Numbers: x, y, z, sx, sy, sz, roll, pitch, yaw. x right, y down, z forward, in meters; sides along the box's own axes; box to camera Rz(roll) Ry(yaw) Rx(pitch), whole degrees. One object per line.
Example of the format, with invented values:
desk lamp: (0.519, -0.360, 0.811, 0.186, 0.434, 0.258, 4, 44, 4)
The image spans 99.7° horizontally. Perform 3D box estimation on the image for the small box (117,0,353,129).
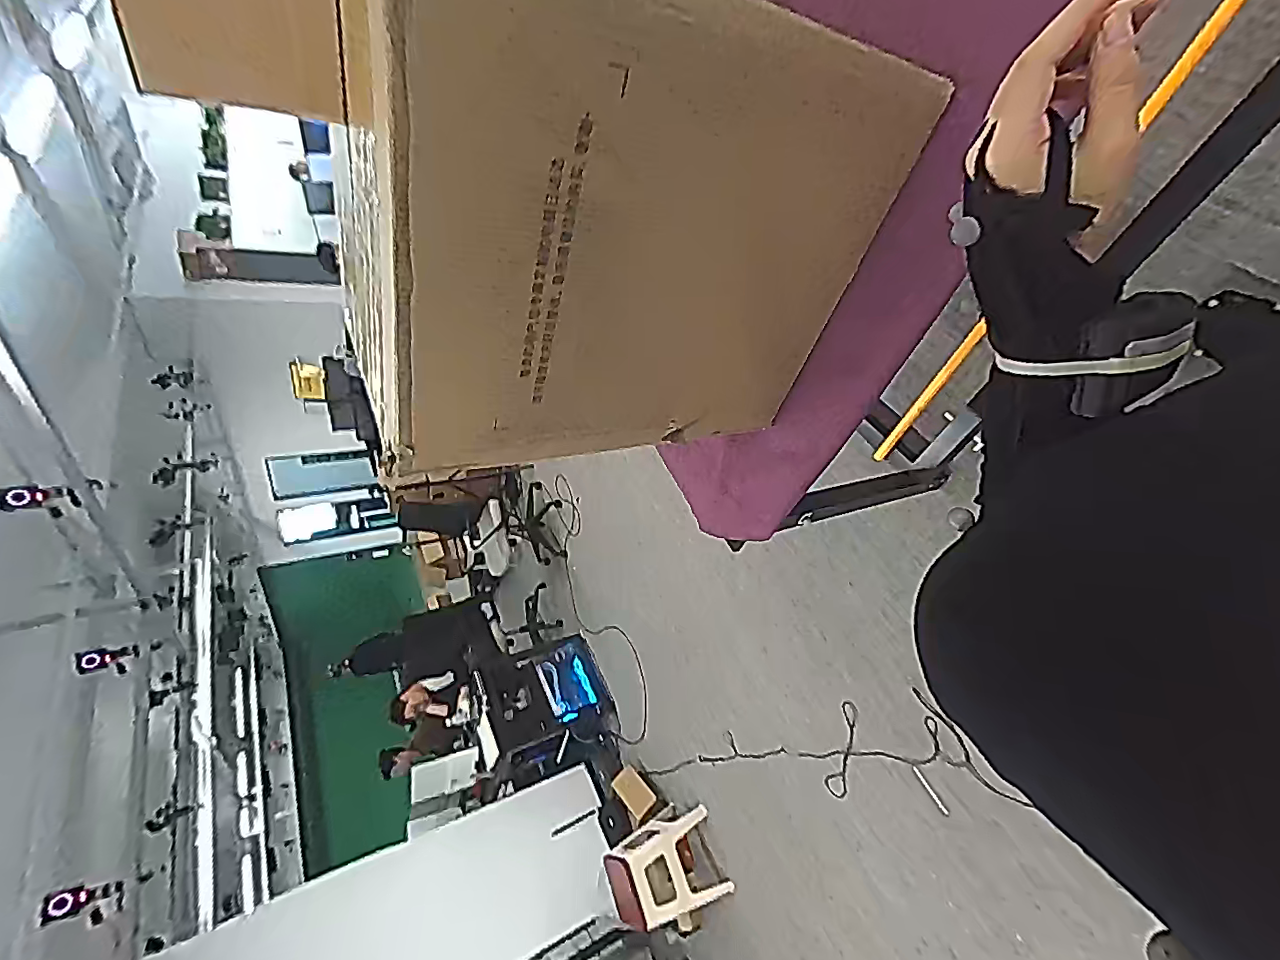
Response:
small box: (-0.380, -0.464, 0.514, 0.168, 0.176, 0.179, 58, 143, 35)
